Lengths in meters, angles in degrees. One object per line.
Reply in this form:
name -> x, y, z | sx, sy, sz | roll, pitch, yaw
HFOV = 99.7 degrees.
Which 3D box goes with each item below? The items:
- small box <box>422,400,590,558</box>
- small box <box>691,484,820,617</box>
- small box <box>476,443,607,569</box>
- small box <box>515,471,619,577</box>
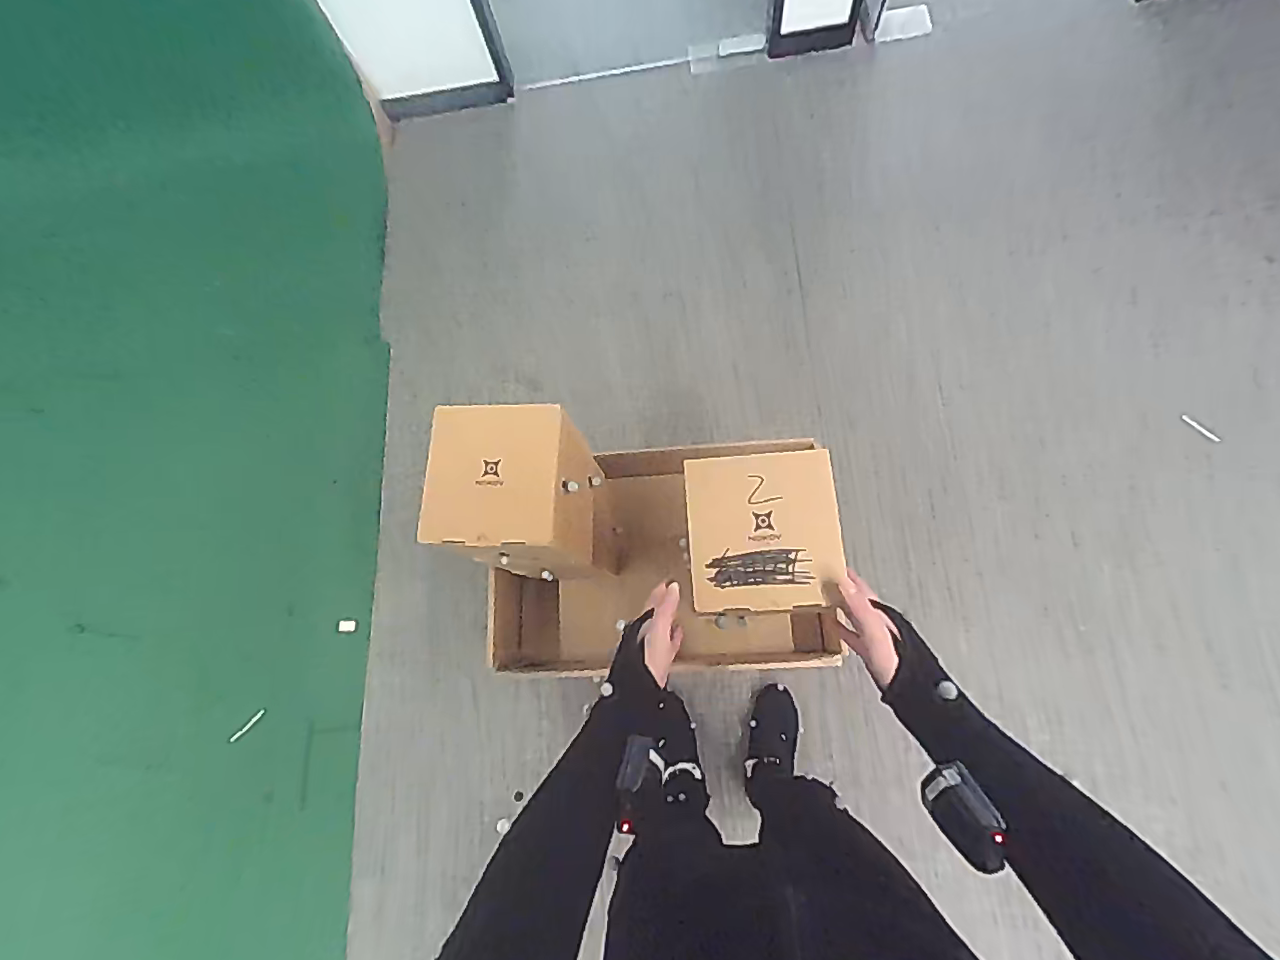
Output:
small box -> -0.166, 0.005, 0.730 | 0.168, 0.176, 0.179 | 1, 76, 7
small box -> 0.165, 0.115, 0.830 | 0.168, 0.176, 0.179 | -5, 75, 6
small box -> -0.151, 0.047, 0.885 | 0.168, 0.176, 0.179 | 0, 75, 7
small box -> -0.134, 0.090, 1.043 | 0.168, 0.176, 0.179 | -2, 75, 6
